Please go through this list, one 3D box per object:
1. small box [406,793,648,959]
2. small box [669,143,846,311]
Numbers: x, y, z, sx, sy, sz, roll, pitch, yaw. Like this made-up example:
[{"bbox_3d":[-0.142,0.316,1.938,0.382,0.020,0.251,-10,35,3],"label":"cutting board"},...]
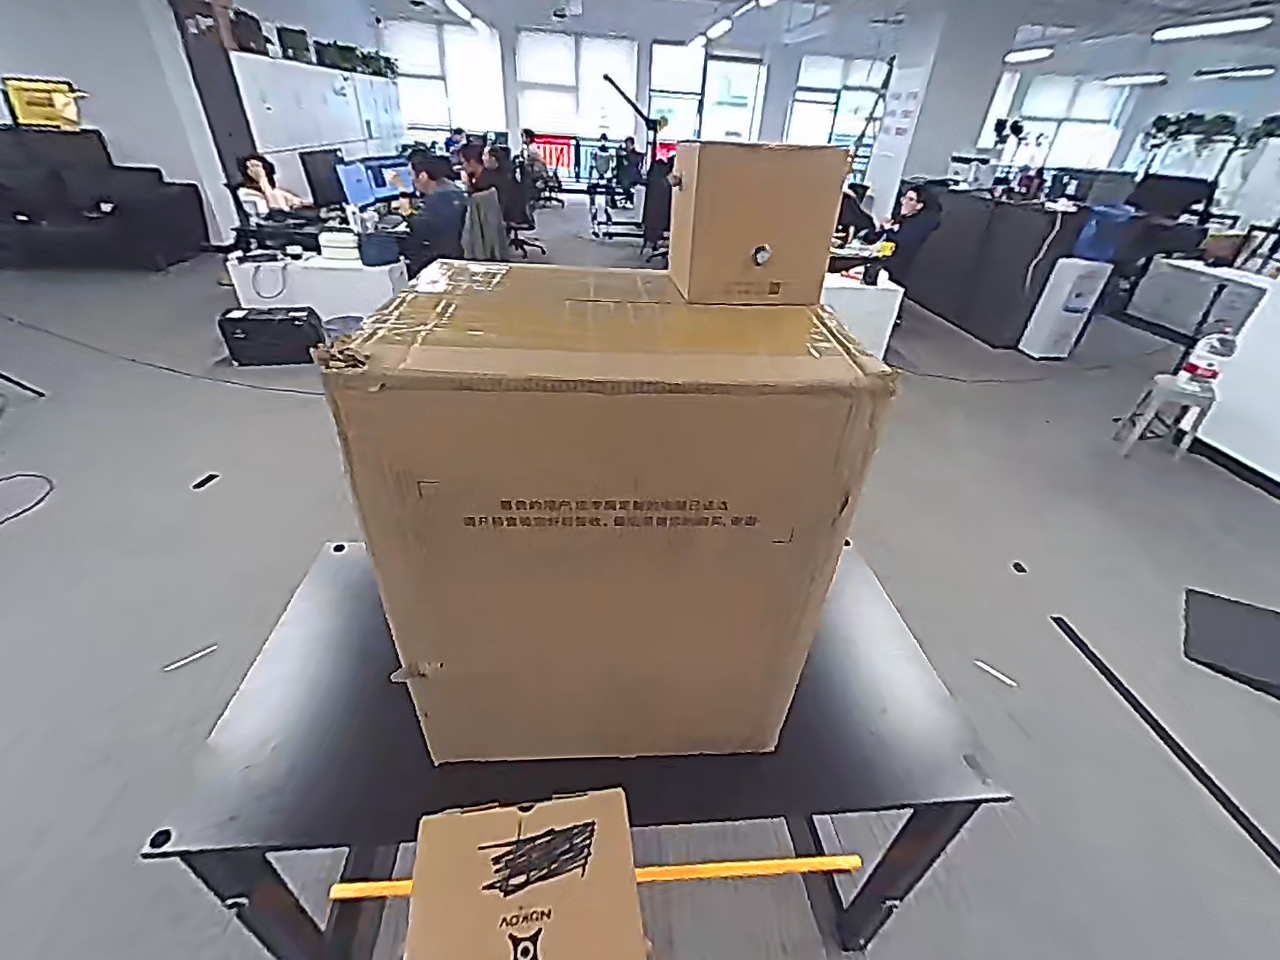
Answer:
[{"bbox_3d":[-0.086,0.384,0.429,0.168,0.176,0.179,-3,41,-11],"label":"small box"},{"bbox_3d":[0.131,-0.322,0.685,0.168,0.176,0.179,-2,32,-5],"label":"small box"}]
